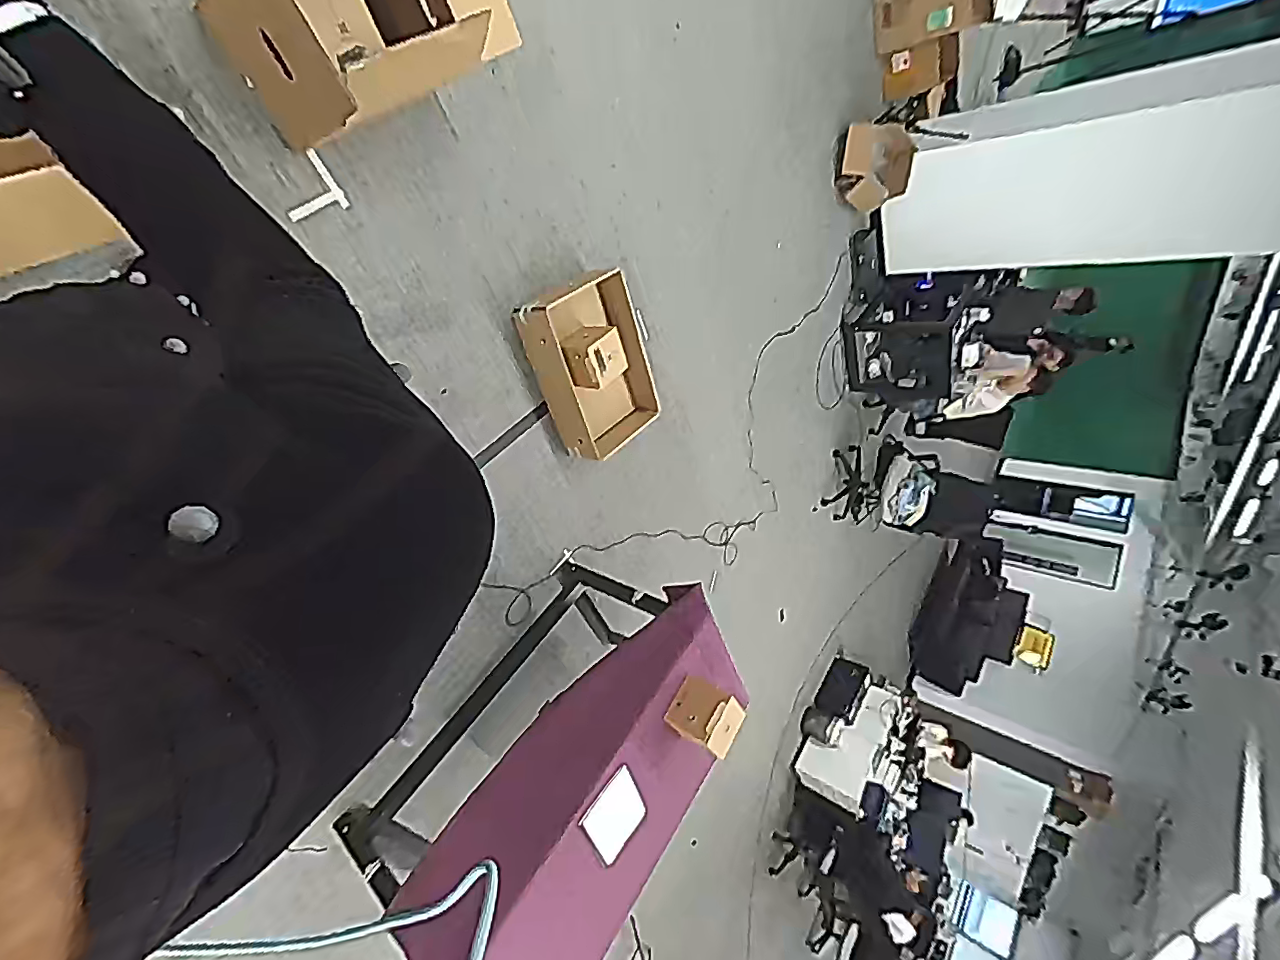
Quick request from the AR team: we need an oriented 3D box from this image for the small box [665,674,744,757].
[{"bbox_3d":[0.208,0.756,1.750,0.168,0.176,0.179,-54,136,-23],"label":"small box"}]
